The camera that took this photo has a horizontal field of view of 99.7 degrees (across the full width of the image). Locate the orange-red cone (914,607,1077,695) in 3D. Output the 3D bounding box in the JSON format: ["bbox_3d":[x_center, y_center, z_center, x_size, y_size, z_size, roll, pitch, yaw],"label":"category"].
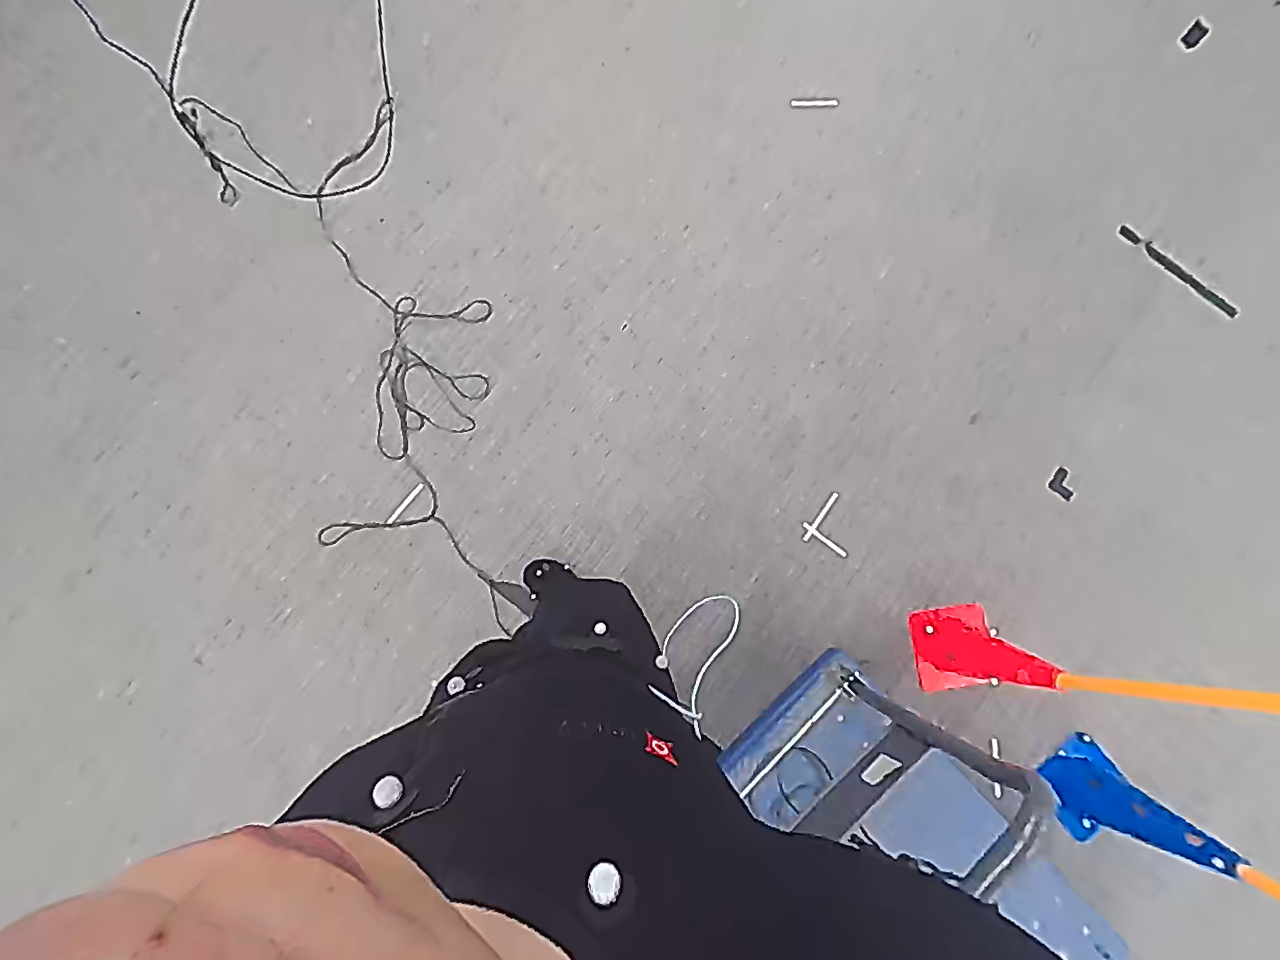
[{"bbox_3d":[0.800,0.406,1.187,0.198,0.360,0.199,-7,84,-2],"label":"orange-red cone"}]

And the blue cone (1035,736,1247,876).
[{"bbox_3d":[1.095,0.737,1.169,0.193,0.380,0.192,-37,84,-6],"label":"blue cone"}]
